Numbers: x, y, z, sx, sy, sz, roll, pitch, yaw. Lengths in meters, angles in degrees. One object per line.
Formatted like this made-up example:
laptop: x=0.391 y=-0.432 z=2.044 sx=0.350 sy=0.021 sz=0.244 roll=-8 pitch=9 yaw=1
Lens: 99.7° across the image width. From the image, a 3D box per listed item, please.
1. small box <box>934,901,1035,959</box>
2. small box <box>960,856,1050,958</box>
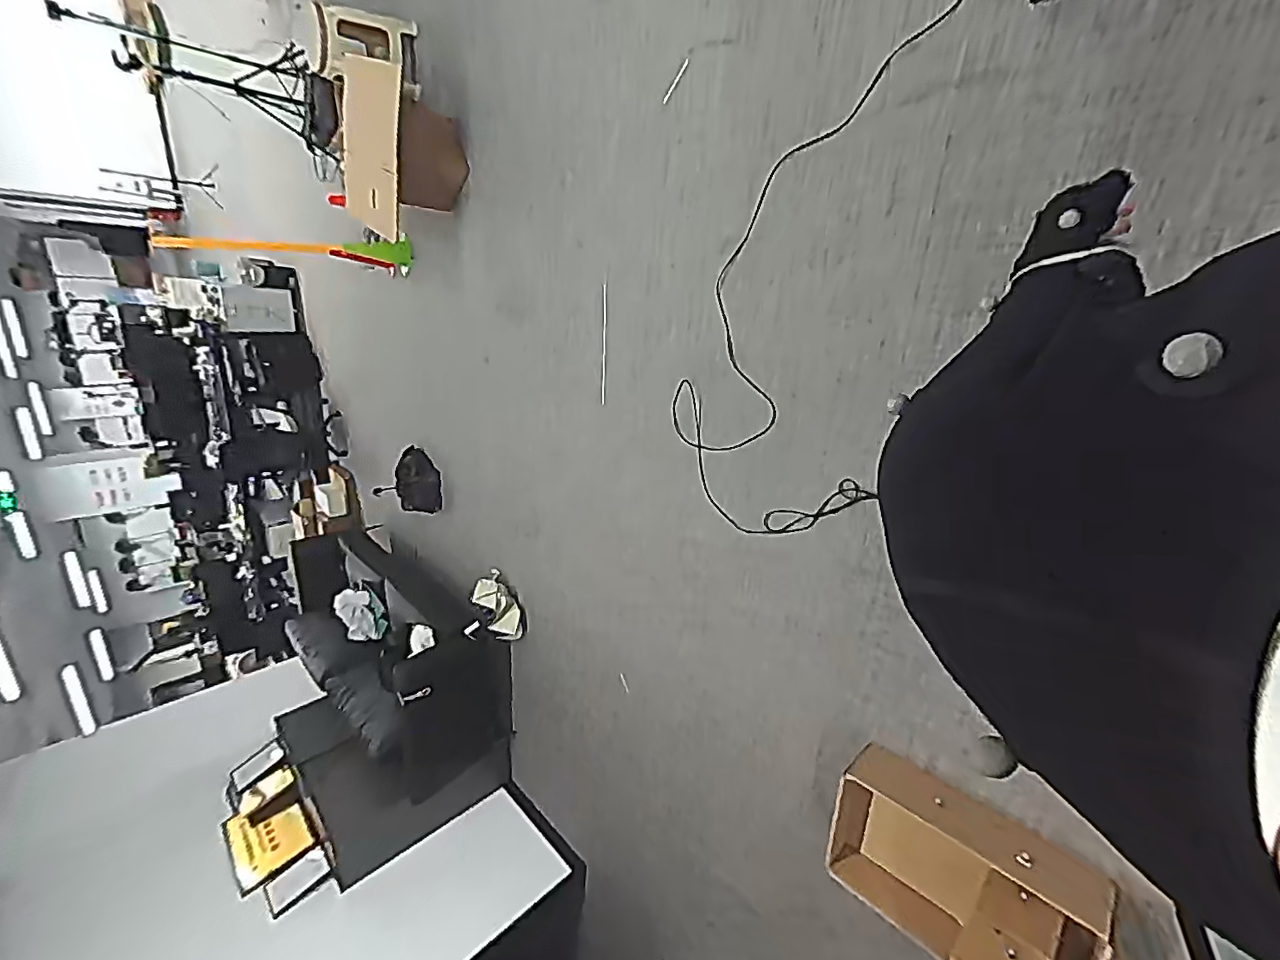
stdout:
small box: x=0.799 y=1.162 z=1.272 sx=0.168 sy=0.176 sz=0.179 roll=20 pitch=116 yaw=42
small box: x=0.916 y=1.127 z=1.381 sx=0.168 sy=0.176 sz=0.179 roll=21 pitch=117 yaw=41
